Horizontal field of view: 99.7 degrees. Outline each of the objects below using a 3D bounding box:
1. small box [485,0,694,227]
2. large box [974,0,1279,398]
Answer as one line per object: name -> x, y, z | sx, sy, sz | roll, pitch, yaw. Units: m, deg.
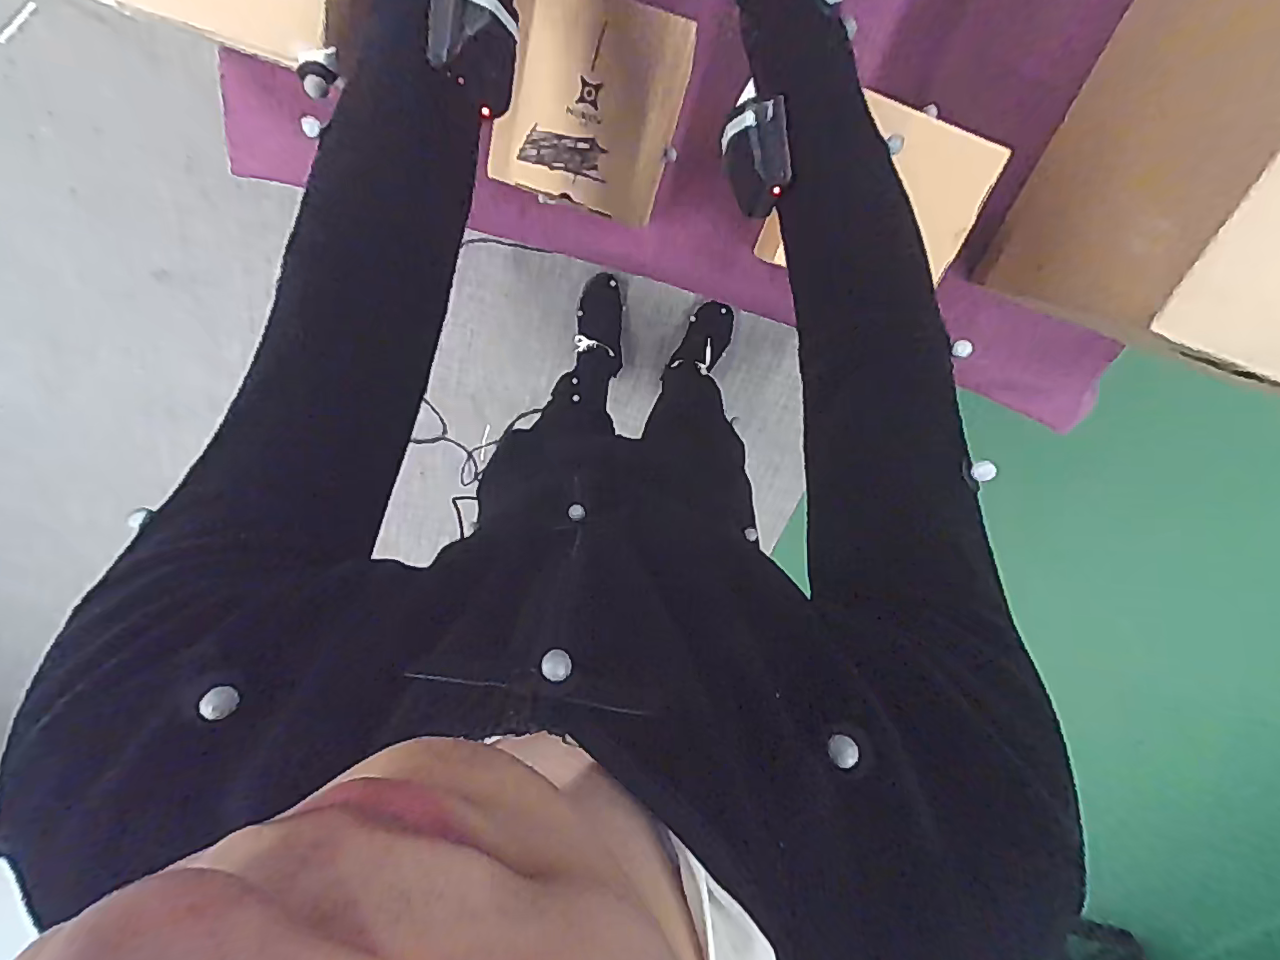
small box -> -0.049, -0.390, 0.579 | 0.168, 0.176, 0.179 | 17, 116, -6
large box -> 0.627, -0.312, 0.507 | 0.320, 0.320, 0.408 | 18, 117, -4
